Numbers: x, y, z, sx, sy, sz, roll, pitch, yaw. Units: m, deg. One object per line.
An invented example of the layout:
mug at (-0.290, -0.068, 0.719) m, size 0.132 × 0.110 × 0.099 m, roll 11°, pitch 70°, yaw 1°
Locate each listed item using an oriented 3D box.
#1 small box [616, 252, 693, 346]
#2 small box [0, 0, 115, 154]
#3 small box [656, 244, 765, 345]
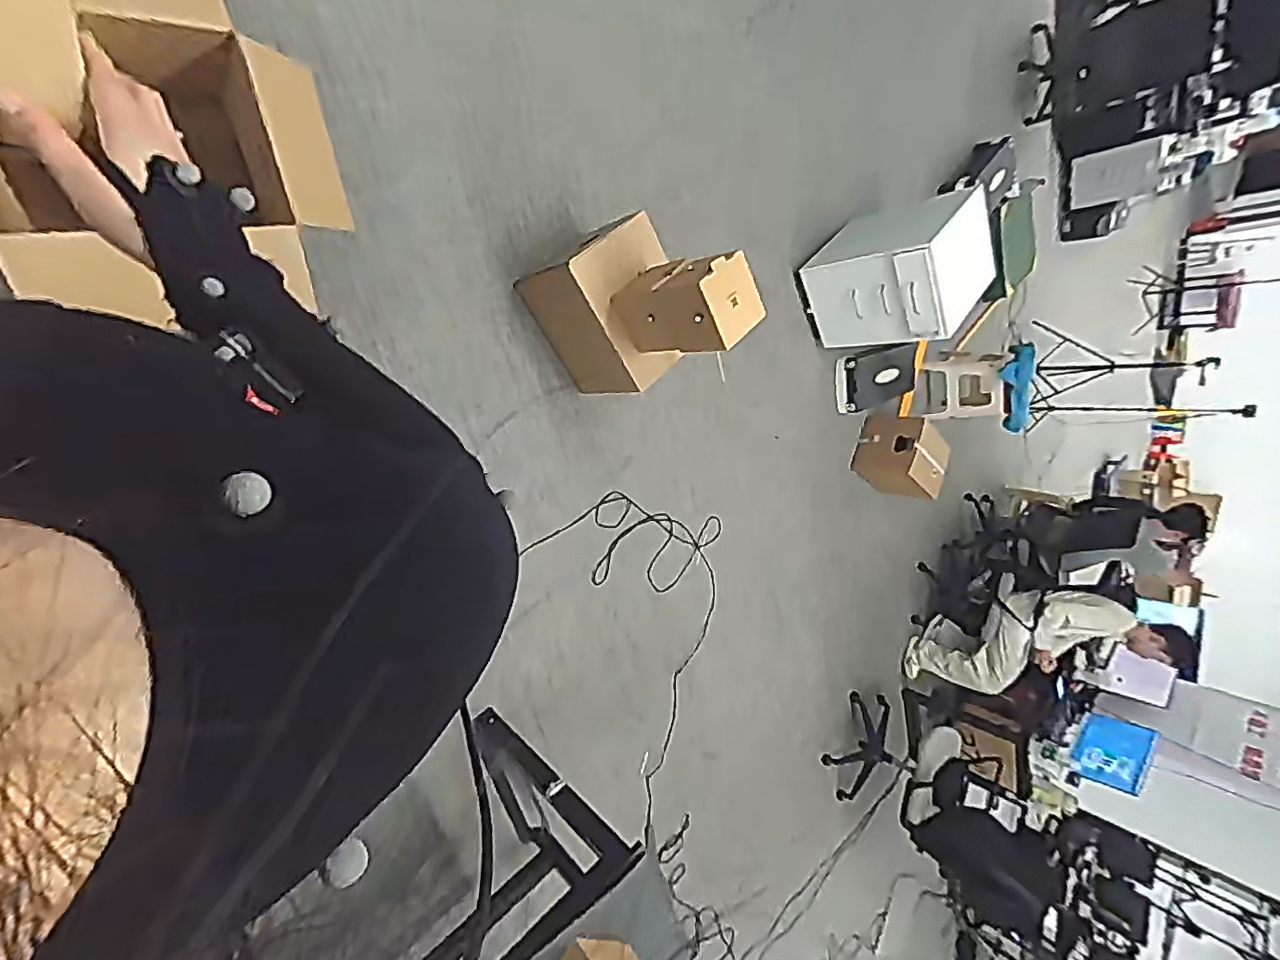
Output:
small box at (0.065, -0.477, 1.450) m, size 0.168 × 0.176 × 0.179 m, roll -45°, pitch 122°, yaw -24°
small box at (-0.453, -0.318, 0.329) m, size 0.168 × 0.176 × 0.179 m, roll -11°, pitch 119°, yaw -40°
small box at (0.171, -0.447, 1.330) m, size 0.168 × 0.176 × 0.179 m, roll -45°, pitch 121°, yaw -24°
